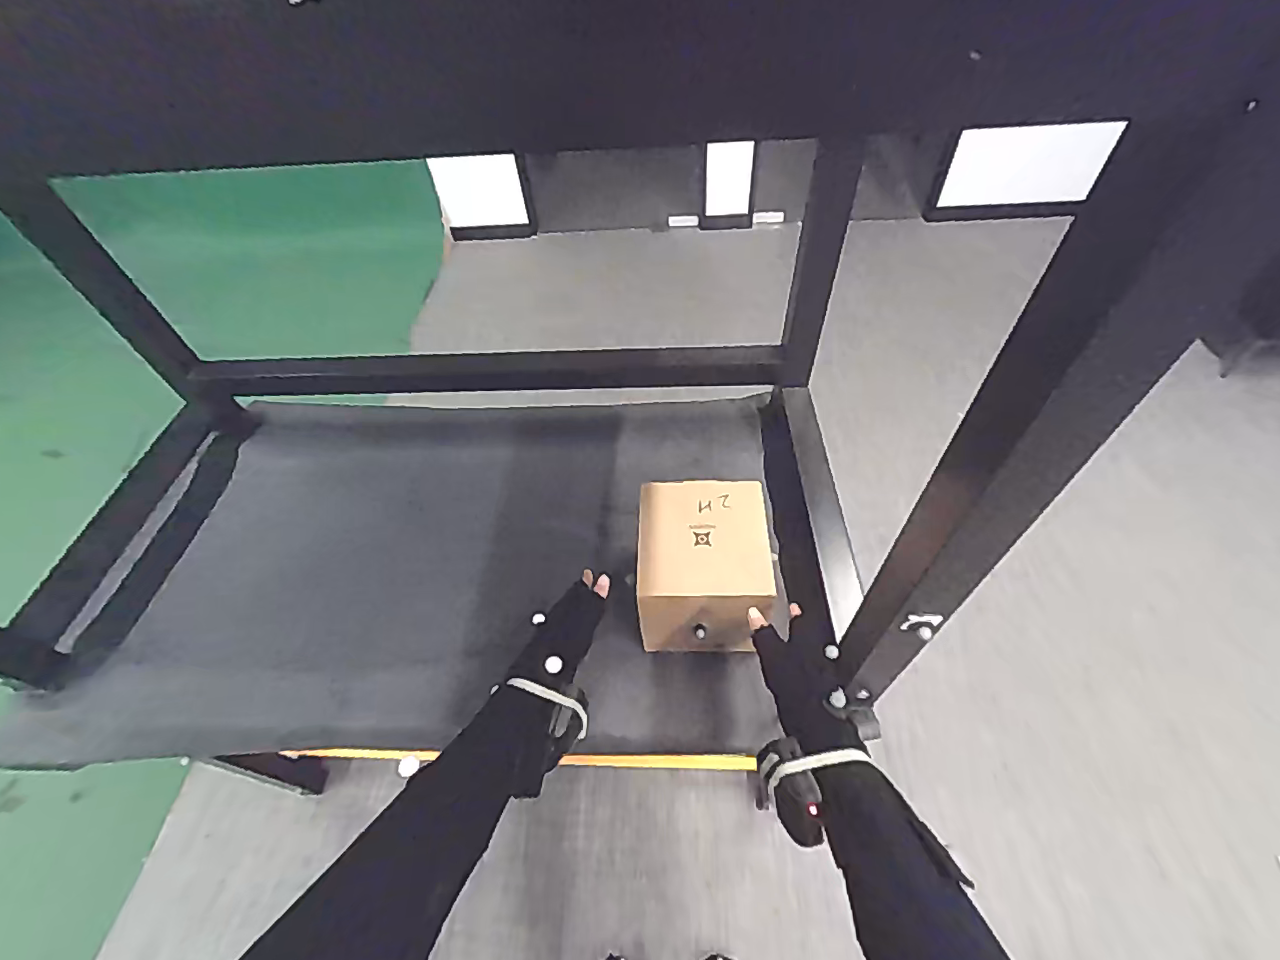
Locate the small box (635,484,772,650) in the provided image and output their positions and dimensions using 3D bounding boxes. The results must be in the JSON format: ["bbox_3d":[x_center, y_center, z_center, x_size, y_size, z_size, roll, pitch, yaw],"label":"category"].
[{"bbox_3d":[0.085,0.125,0.751,0.168,0.176,0.179,0,50,4],"label":"small box"}]
